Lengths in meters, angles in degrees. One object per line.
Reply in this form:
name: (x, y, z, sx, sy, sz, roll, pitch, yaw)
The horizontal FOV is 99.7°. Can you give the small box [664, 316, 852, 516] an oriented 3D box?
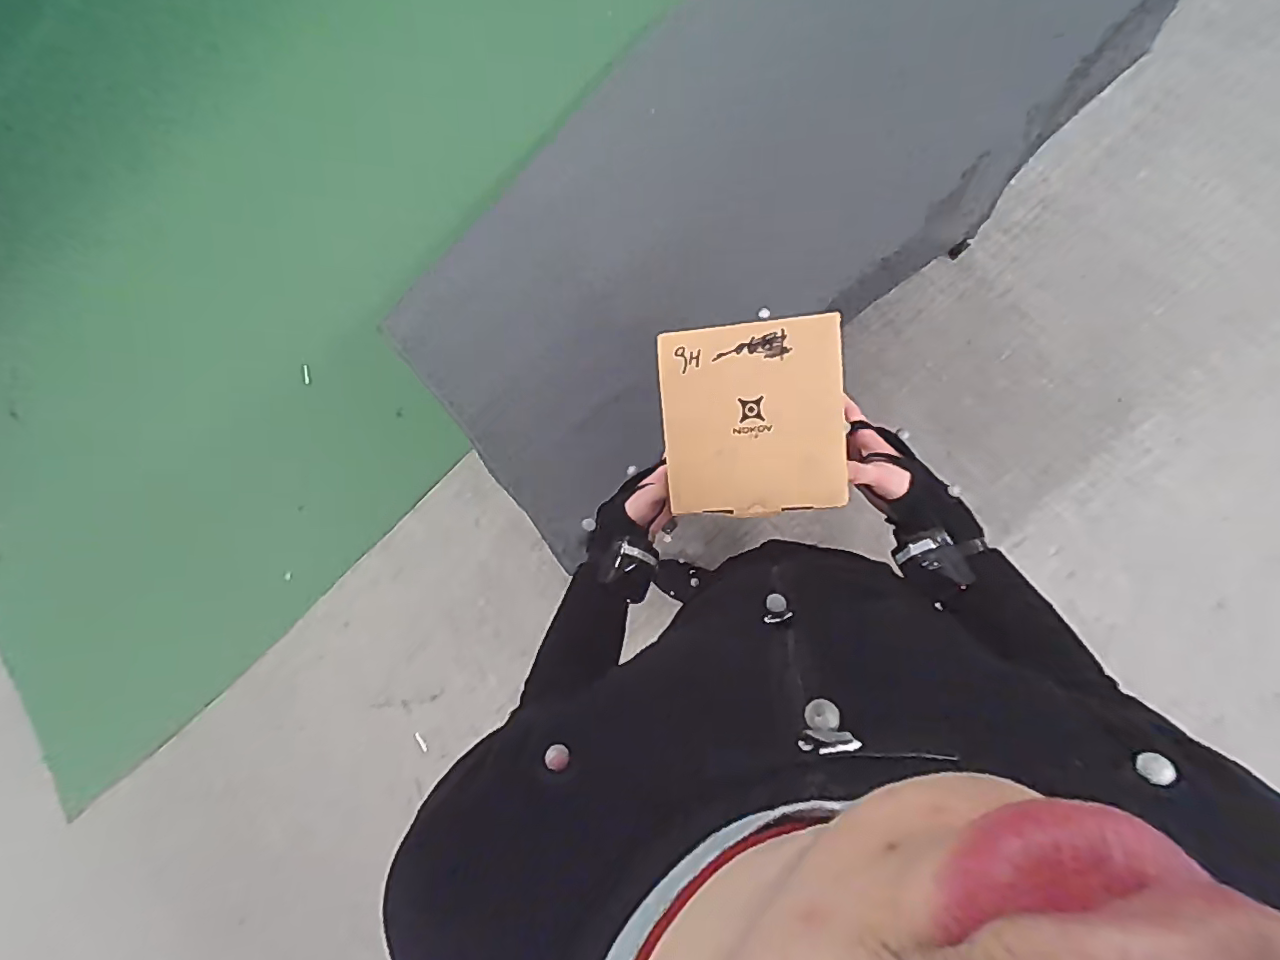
small box: (0.124, -0.065, 0.574, 0.168, 0.176, 0.179, -4, 96, 12)
